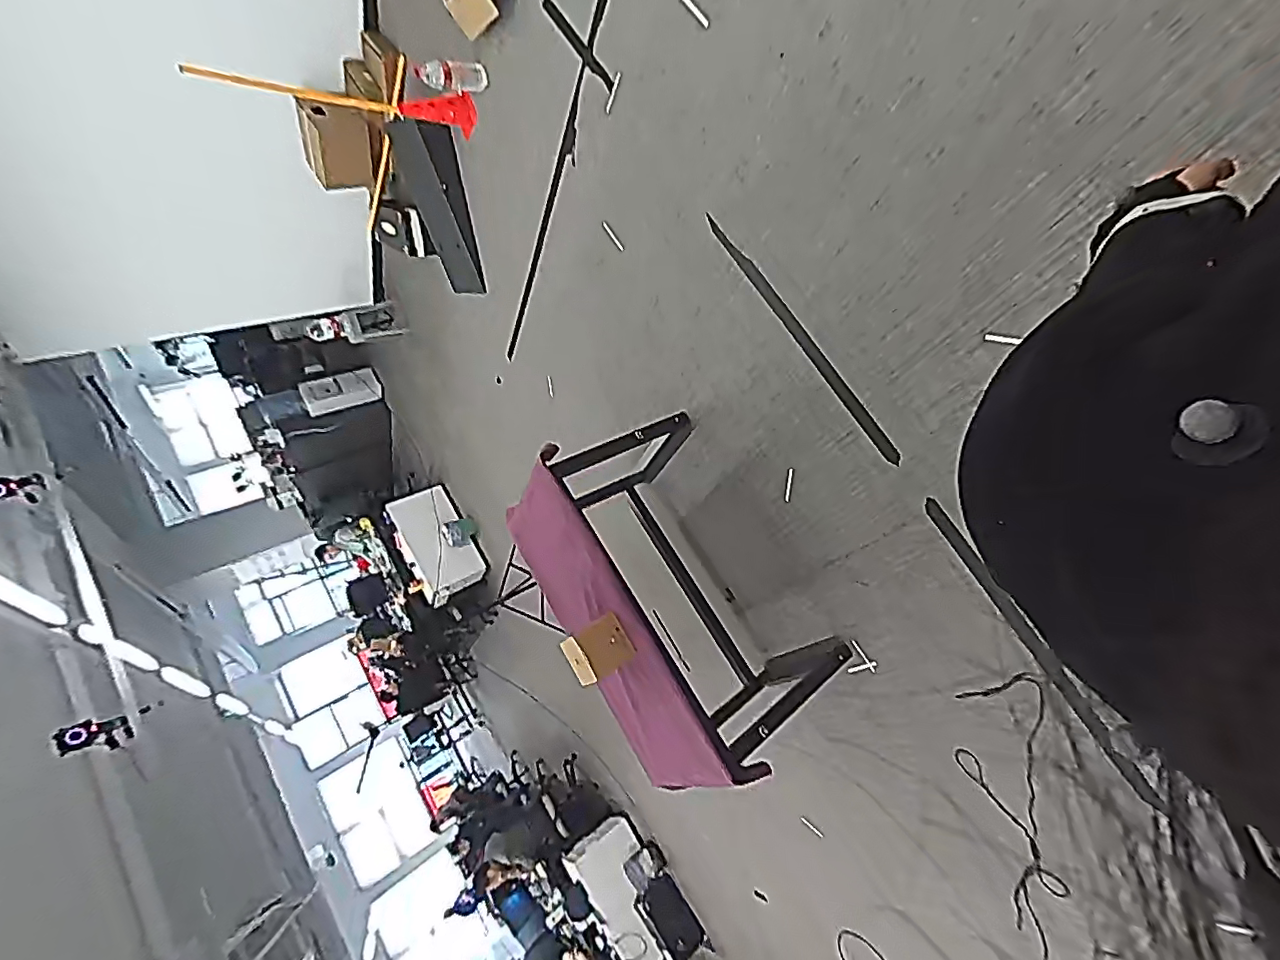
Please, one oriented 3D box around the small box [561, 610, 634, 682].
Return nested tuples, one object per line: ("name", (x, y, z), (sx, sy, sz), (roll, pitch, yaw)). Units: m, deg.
("small box", (-0.145, 0.571, 1.859), (0.168, 0.176, 0.179), (58, 147, 10))
